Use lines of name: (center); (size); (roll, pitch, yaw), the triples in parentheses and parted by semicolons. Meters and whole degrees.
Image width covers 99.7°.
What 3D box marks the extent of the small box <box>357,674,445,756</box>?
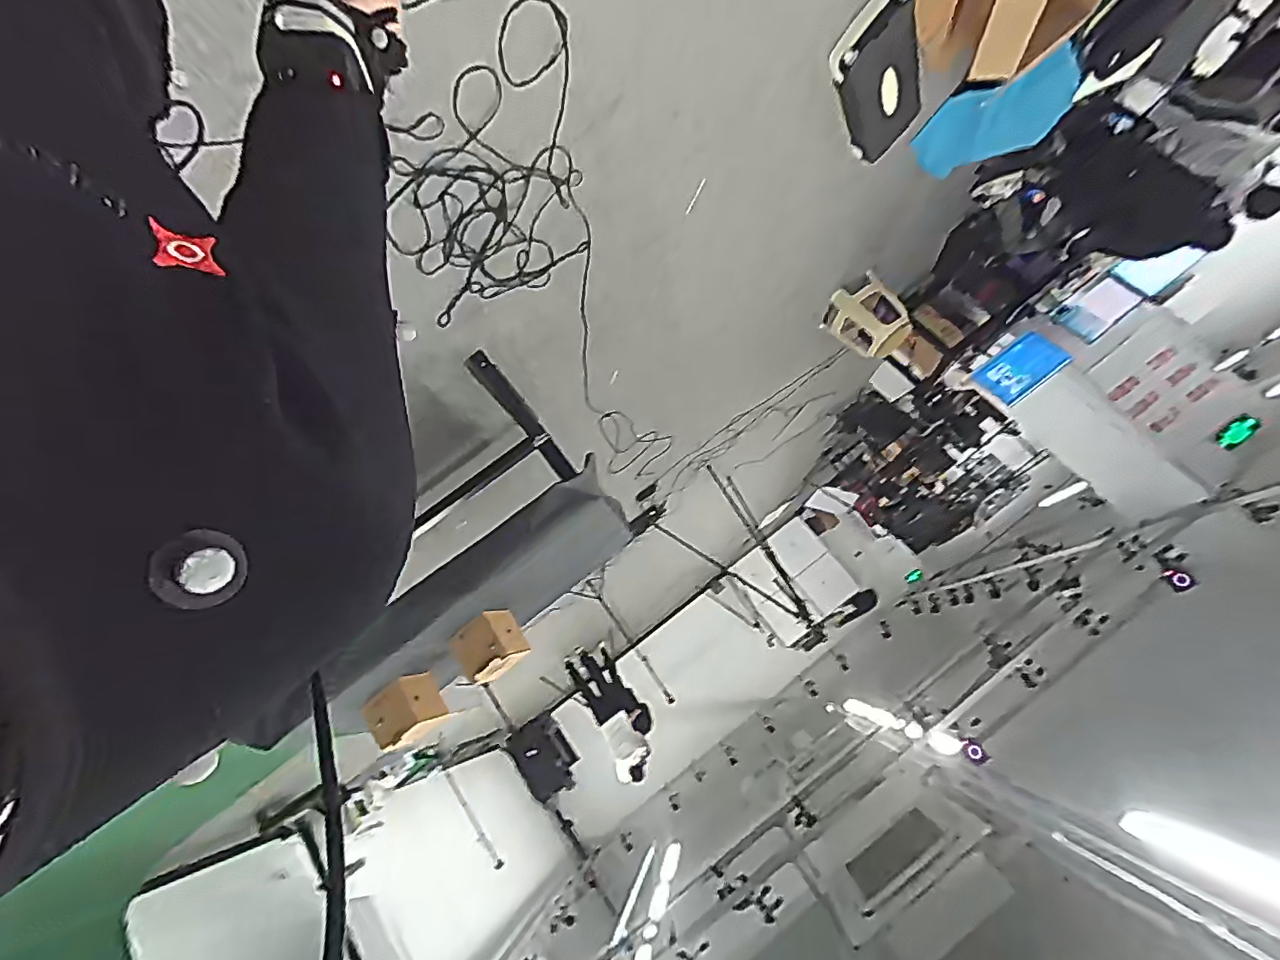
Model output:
small box: (-0.791, 0.768, 1.785); (0.168, 0.176, 0.179); (-39, 162, 2)
